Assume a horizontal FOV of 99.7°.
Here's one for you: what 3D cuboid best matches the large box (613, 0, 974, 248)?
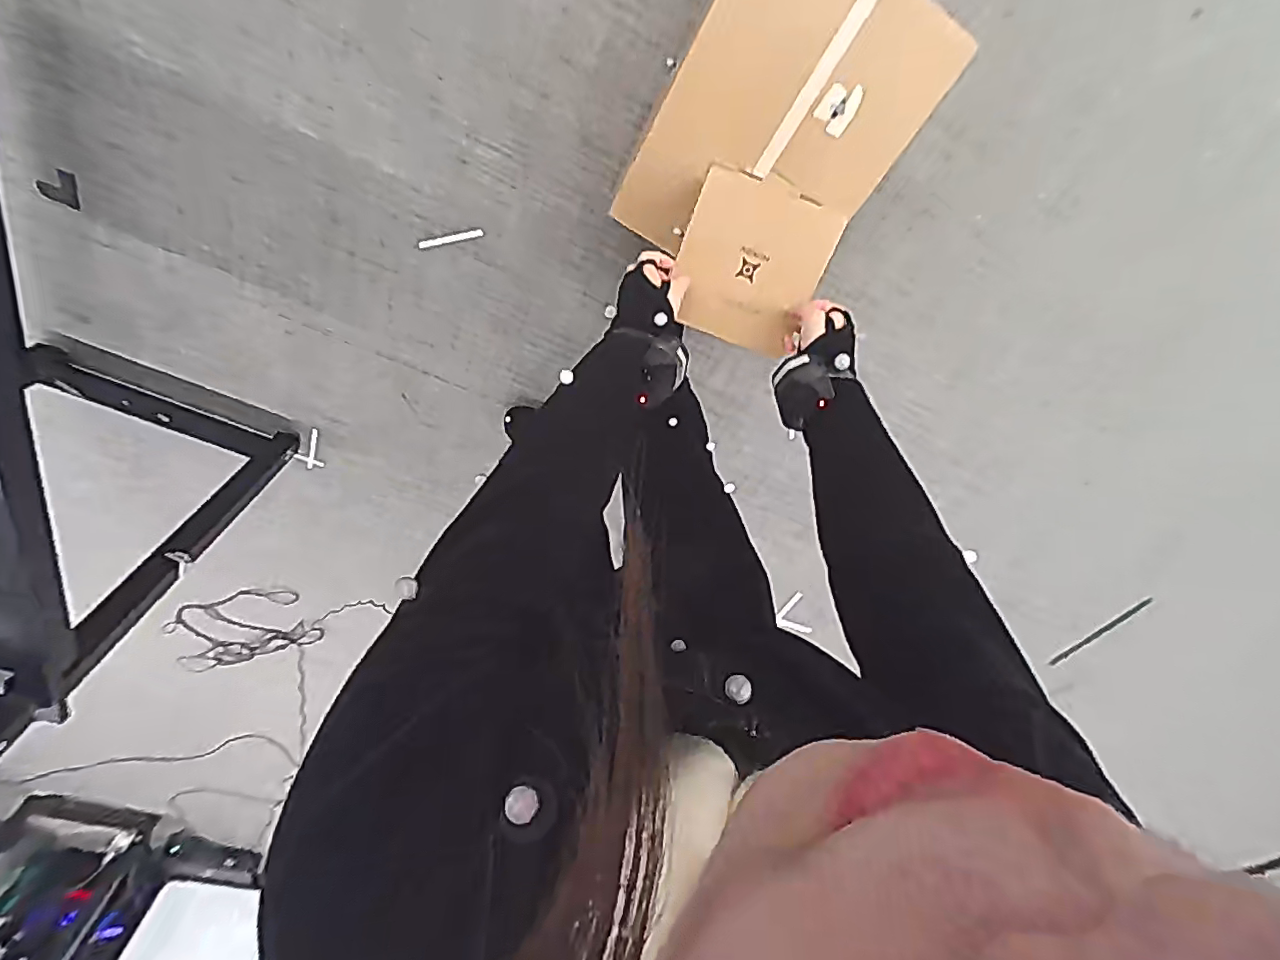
[{"bbox_3d":[0.188,-0.559,0.844,0.320,0.320,0.408,25,123,-18],"label":"large box"}]

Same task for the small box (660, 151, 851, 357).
[{"bbox_3d":[0.131,-0.283,0.688,0.168,0.176,0.179,21,115,-5],"label":"small box"}]
